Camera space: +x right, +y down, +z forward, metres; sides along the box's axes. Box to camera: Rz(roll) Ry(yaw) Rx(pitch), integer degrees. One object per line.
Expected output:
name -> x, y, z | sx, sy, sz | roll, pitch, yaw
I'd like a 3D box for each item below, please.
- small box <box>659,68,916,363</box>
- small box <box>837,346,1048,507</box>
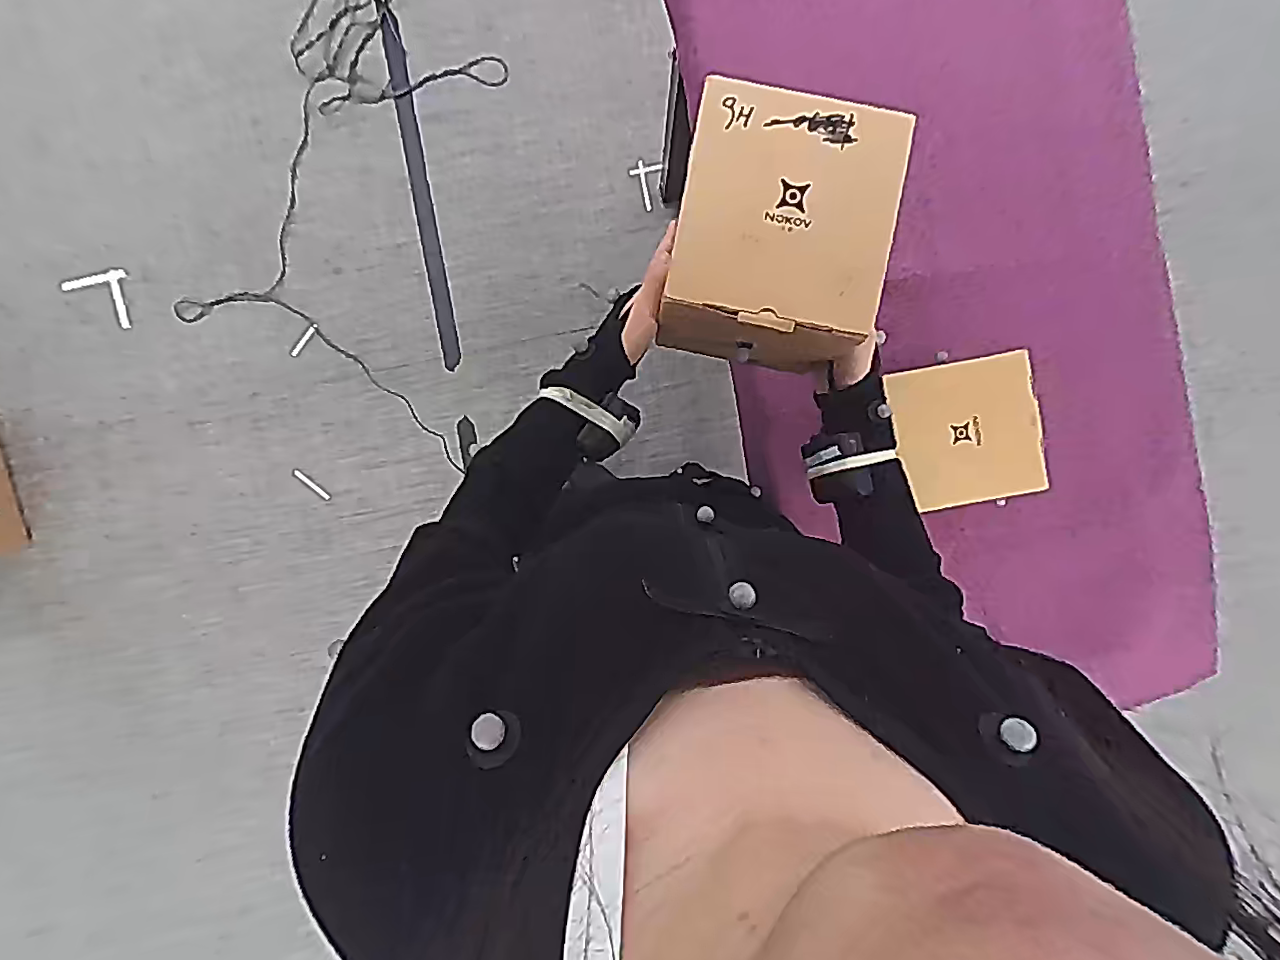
small box -> 0.113, -0.214, 0.492 | 0.168, 0.176, 0.179 | 11, 93, -1
small box -> 0.374, -0.063, 0.704 | 0.179, 0.176, 0.168 | -10, 92, -1
